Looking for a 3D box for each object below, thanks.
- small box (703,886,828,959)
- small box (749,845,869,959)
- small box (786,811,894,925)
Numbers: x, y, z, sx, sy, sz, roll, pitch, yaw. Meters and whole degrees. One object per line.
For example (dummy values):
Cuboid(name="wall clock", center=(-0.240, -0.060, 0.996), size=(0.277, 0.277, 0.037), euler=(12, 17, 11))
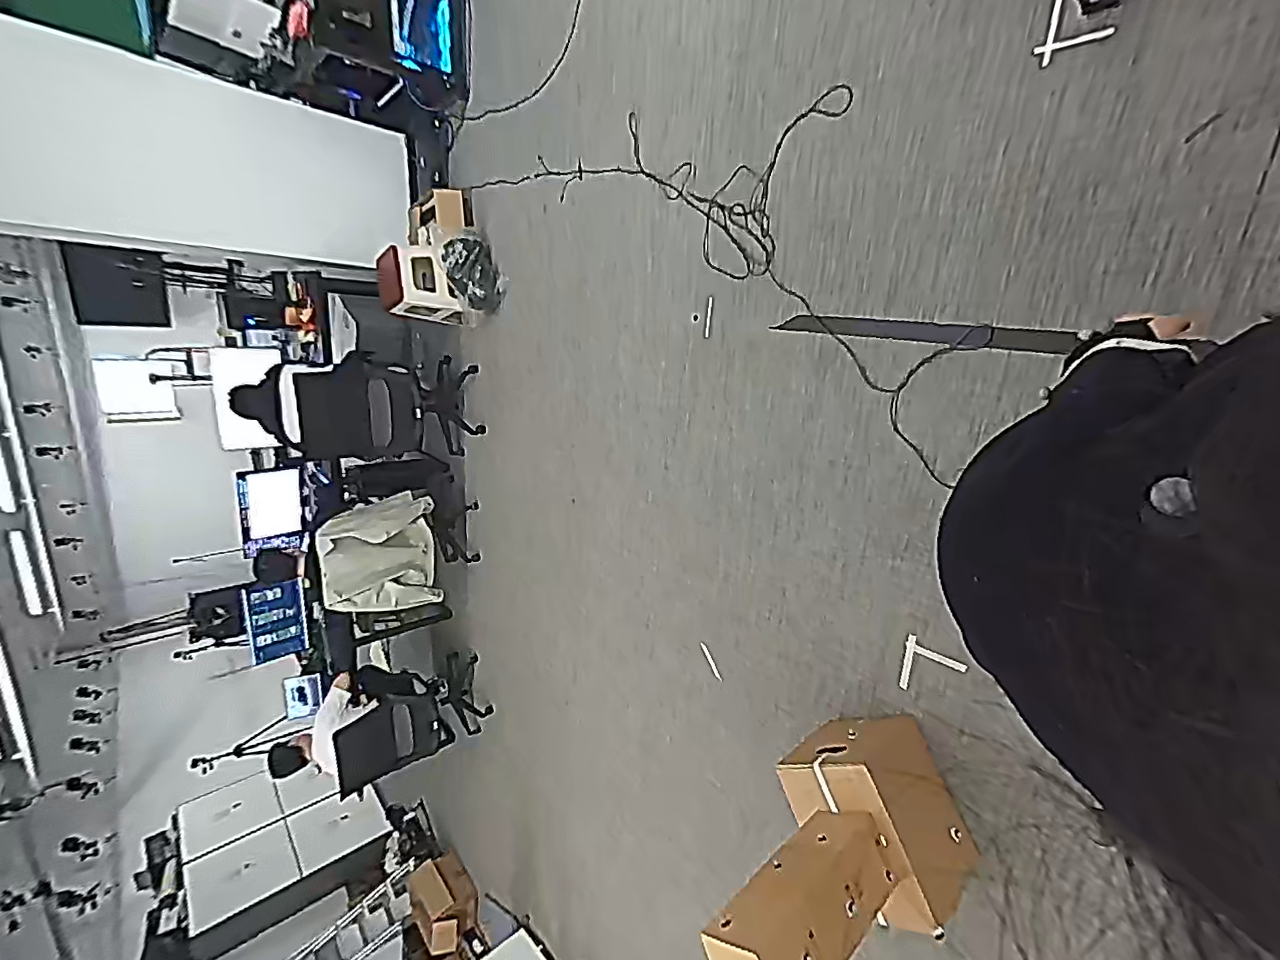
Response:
Cuboid(name="small box", center=(0.270, 1.003, 1.140), size=(0.179, 0.176, 0.168), euler=(-32, 75, 47))
Cuboid(name="small box", center=(0.391, 0.980, 1.250), size=(0.179, 0.176, 0.168), euler=(-31, 75, 46))
Cuboid(name="small box", center=(0.509, 0.963, 1.360), size=(0.179, 0.176, 0.168), euler=(-35, 71, 47))
